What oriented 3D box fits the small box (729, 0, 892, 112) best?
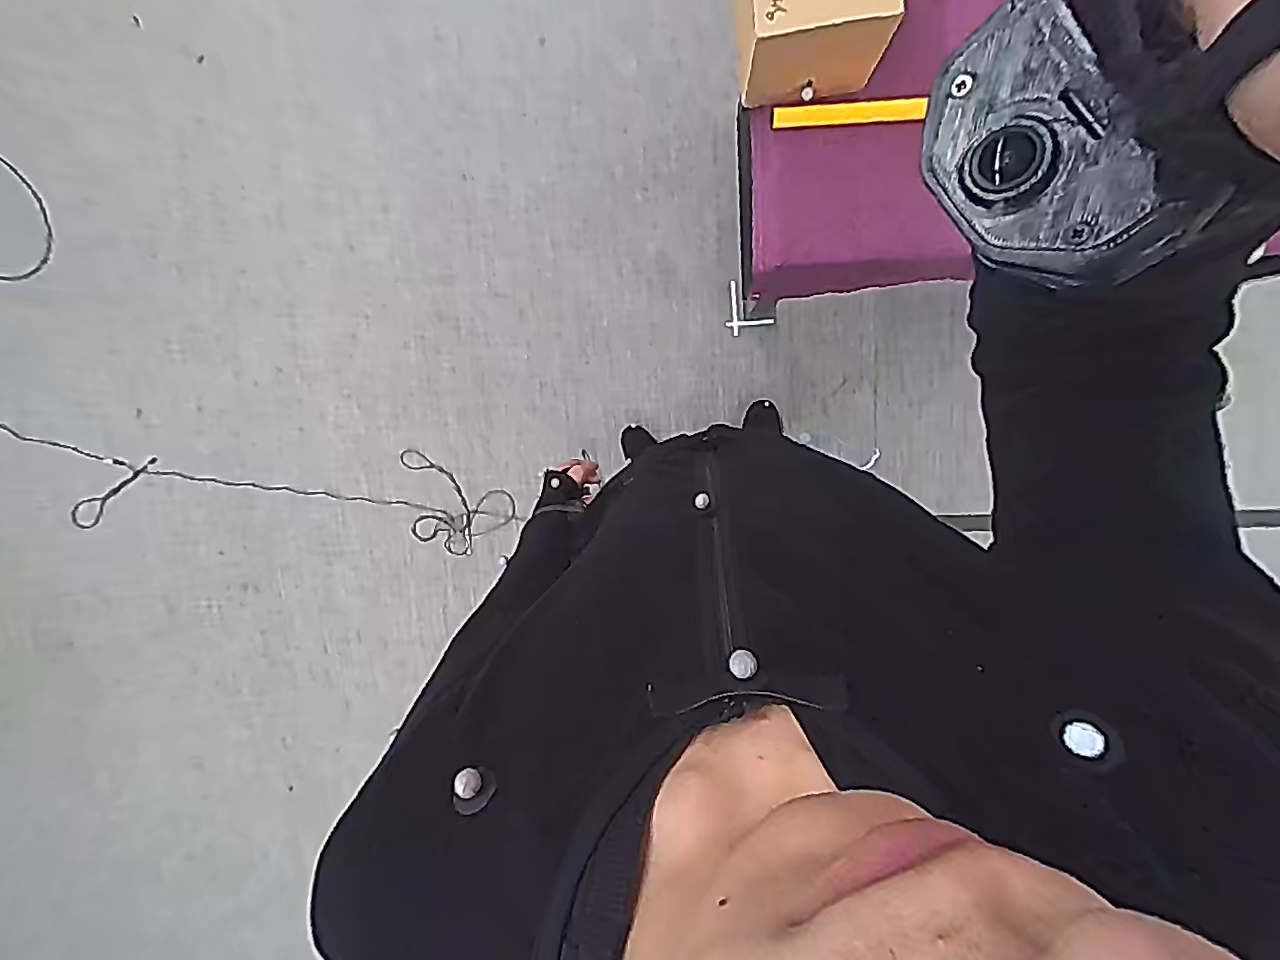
[{"bbox_3d":[0.219,-0.632,0.728,0.179,0.176,0.168,-4,99,6],"label":"small box"}]
